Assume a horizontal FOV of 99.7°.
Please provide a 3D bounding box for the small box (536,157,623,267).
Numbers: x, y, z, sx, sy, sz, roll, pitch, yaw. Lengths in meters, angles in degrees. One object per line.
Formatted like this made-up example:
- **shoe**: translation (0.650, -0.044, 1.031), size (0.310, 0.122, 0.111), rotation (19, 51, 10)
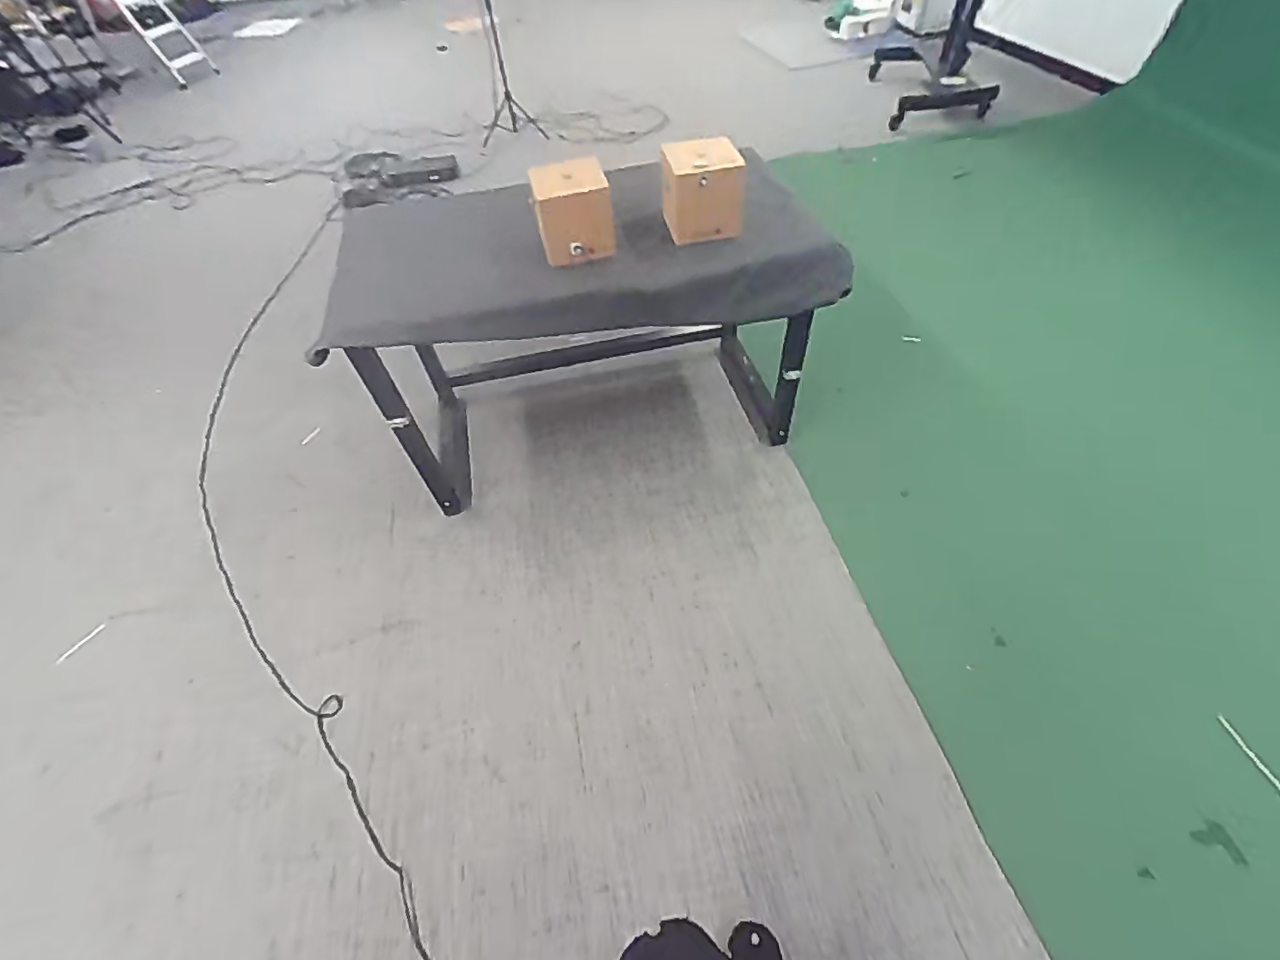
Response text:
- **small box**: translation (-0.143, -0.643, 1.303), size (0.168, 0.176, 0.179), rotation (-15, 53, -5)

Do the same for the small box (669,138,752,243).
- **small box**: translation (0.165, -0.708, 1.325), size (0.168, 0.176, 0.179), rotation (-10, 51, -2)
